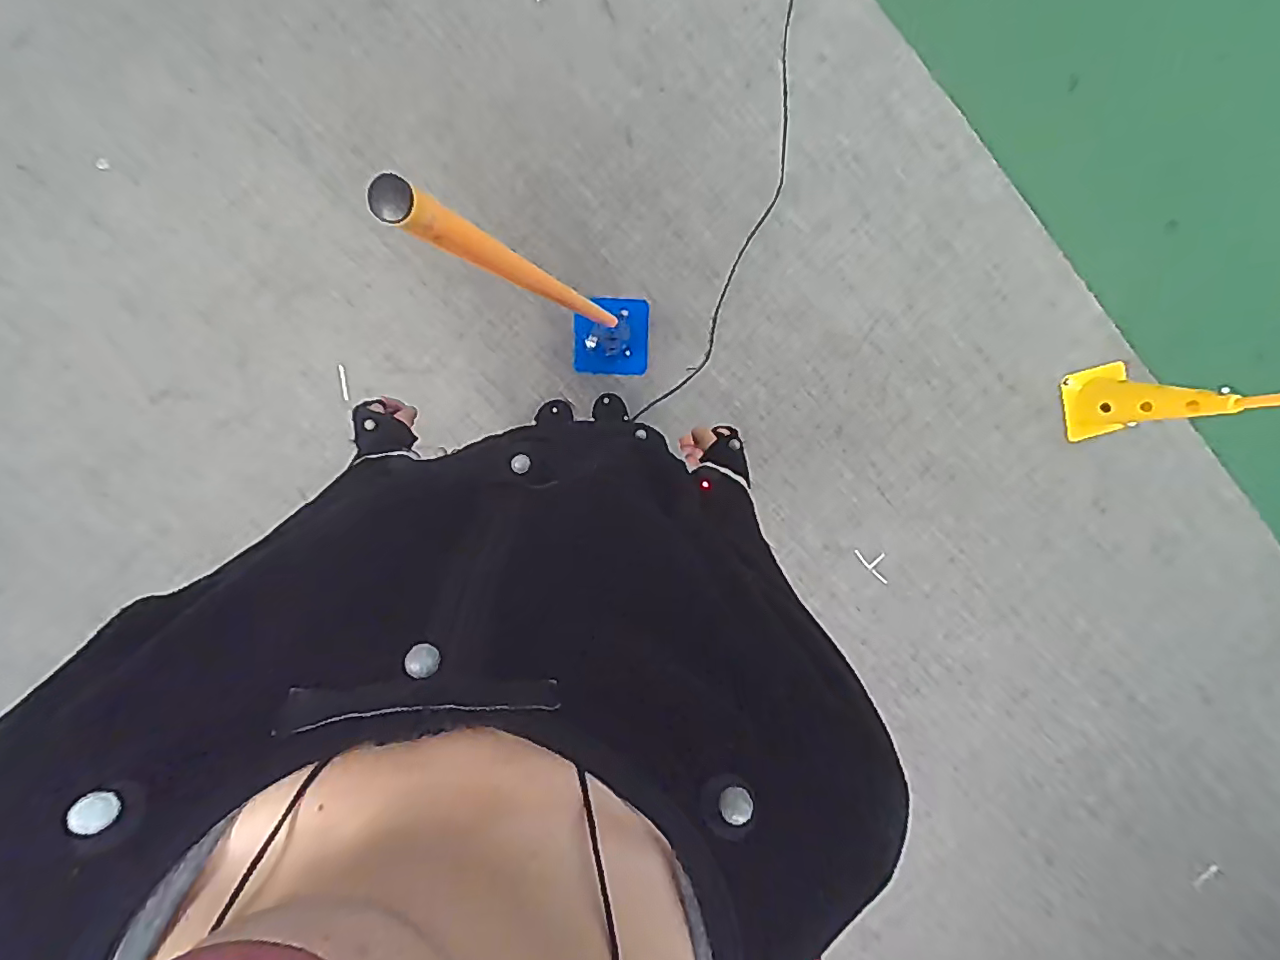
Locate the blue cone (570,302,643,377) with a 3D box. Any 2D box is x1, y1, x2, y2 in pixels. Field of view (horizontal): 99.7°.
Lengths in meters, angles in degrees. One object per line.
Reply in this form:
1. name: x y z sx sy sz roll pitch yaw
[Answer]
1. blue cone: -0.079 -0.343 1.266 0.193 0.380 0.192 0 100 -3
